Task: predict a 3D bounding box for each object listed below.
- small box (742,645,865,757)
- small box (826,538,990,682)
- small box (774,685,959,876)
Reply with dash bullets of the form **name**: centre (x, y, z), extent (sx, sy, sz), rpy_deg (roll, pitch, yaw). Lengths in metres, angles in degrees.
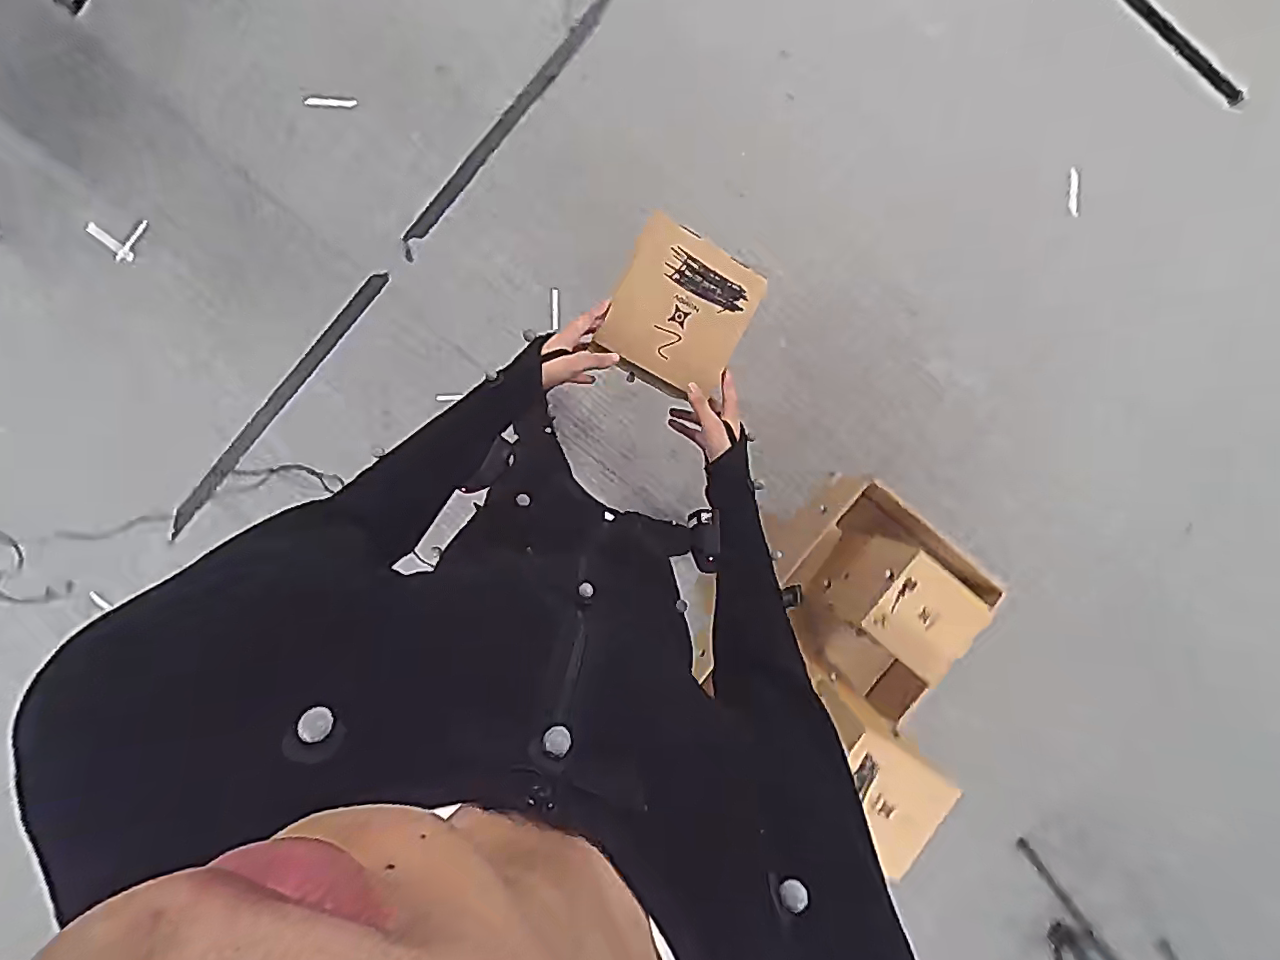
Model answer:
- **small box**: centre (0.318, 0.440, 1.012), extent (0.179, 0.176, 0.168), rpy_deg (37, 92, -3)
- **small box**: centre (0.486, 0.229, 1.006), extent (0.179, 0.176, 0.168), rpy_deg (40, 92, -5)
- **small box**: centre (0.338, 0.452, 0.848), extent (0.179, 0.176, 0.168), rpy_deg (34, 92, -4)
